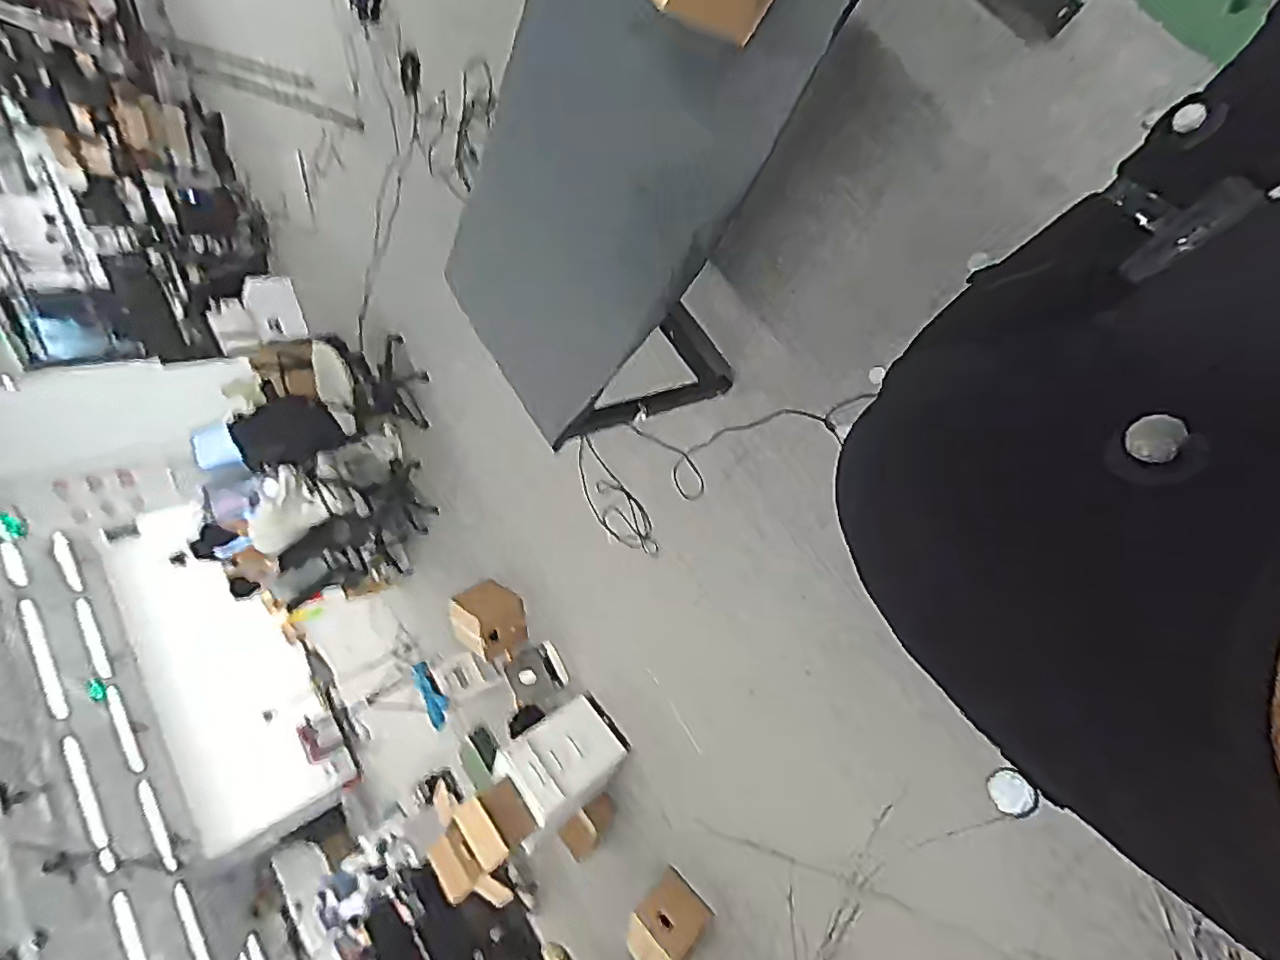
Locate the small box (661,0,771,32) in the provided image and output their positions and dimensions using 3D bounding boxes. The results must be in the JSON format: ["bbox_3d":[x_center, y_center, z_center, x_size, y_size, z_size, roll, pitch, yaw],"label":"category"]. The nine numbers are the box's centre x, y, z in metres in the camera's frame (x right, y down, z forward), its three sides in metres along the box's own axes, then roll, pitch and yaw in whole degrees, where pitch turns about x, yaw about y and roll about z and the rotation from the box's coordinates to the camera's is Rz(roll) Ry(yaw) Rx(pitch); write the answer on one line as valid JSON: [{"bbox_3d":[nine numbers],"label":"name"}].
[{"bbox_3d":[0.090,-0.703,0.660,0.168,0.176,0.179,-40,74,49],"label":"small box"}]
